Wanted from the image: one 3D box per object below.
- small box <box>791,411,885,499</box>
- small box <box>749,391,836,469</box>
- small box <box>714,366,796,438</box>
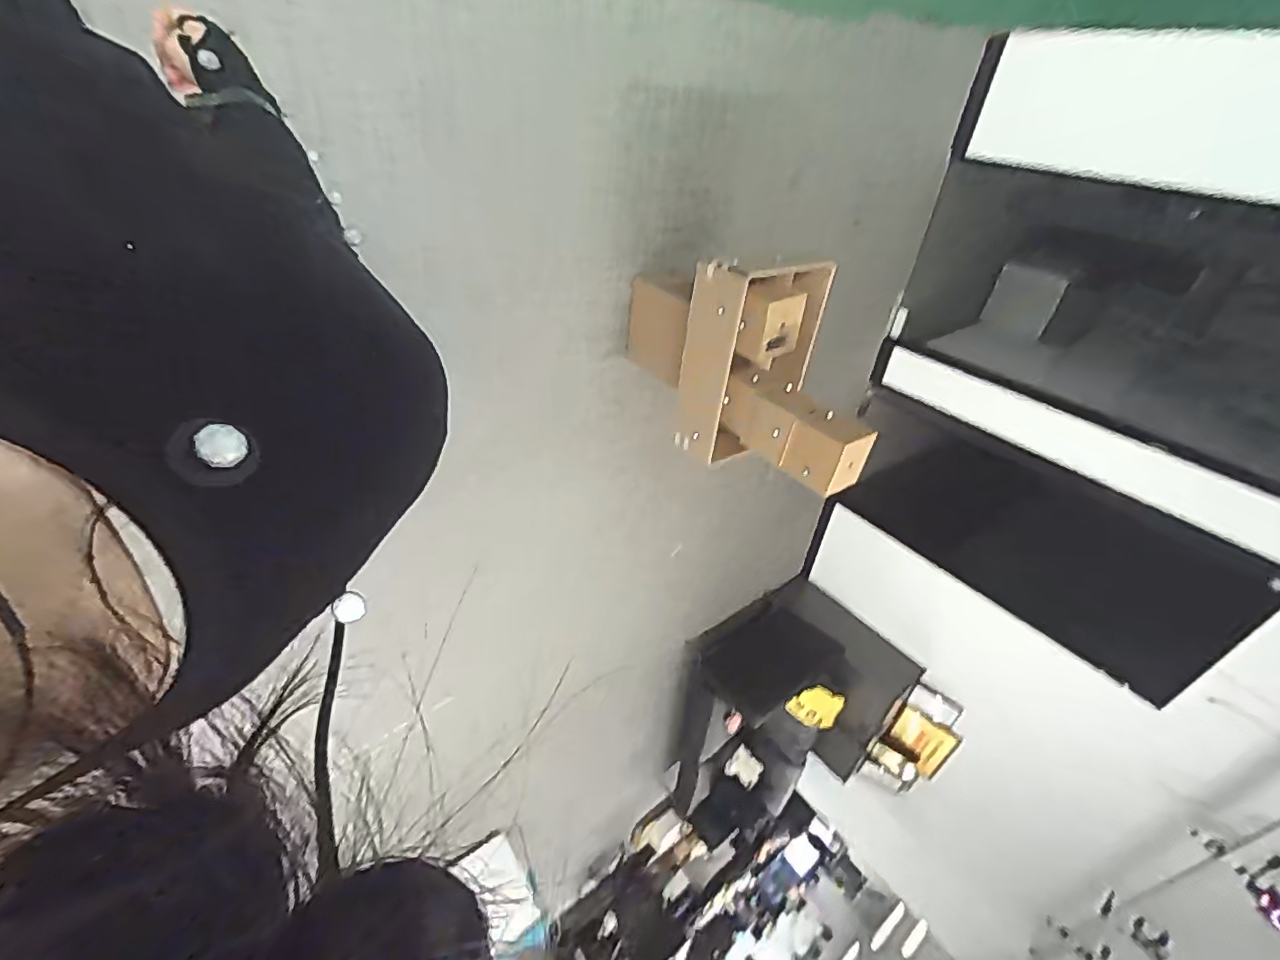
[{"bbox_3d":[0.563,-0.077,1.560,0.168,0.176,0.179,-18,132,-34],"label":"small box"},{"bbox_3d":[0.459,-0.162,1.653,0.168,0.176,0.179,-17,132,-34],"label":"small box"},{"bbox_3d":[0.365,-0.258,1.747,0.179,0.176,0.168,-16,131,-35],"label":"small box"}]
